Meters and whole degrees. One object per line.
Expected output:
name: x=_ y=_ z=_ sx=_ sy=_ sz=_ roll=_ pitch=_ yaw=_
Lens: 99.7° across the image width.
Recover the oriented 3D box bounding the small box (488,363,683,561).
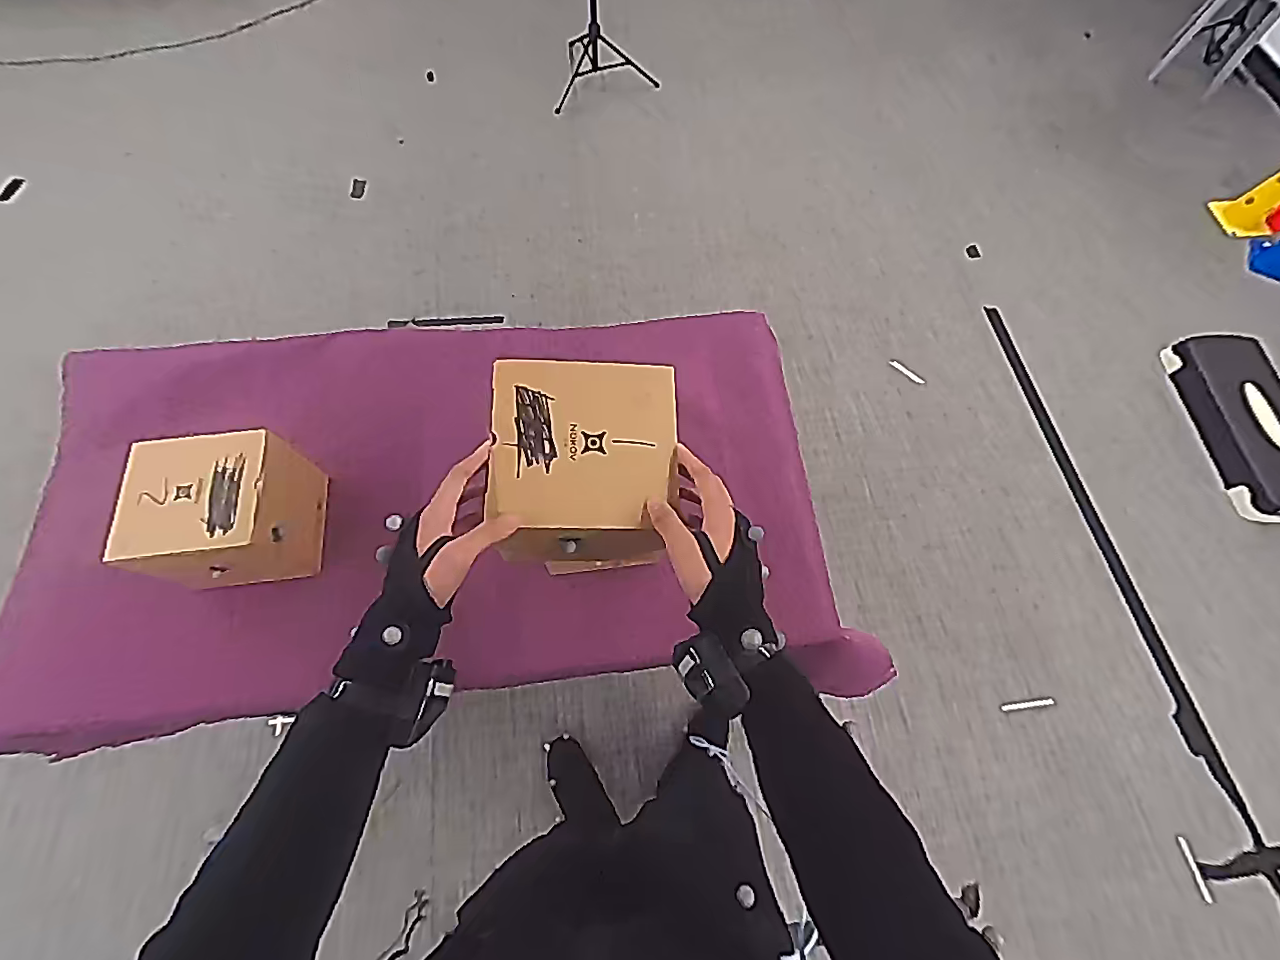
small box: x=-0.055 y=-0.008 z=0.578 sx=0.179 sy=0.176 sz=0.168 roll=2 pitch=72 yaw=-6
